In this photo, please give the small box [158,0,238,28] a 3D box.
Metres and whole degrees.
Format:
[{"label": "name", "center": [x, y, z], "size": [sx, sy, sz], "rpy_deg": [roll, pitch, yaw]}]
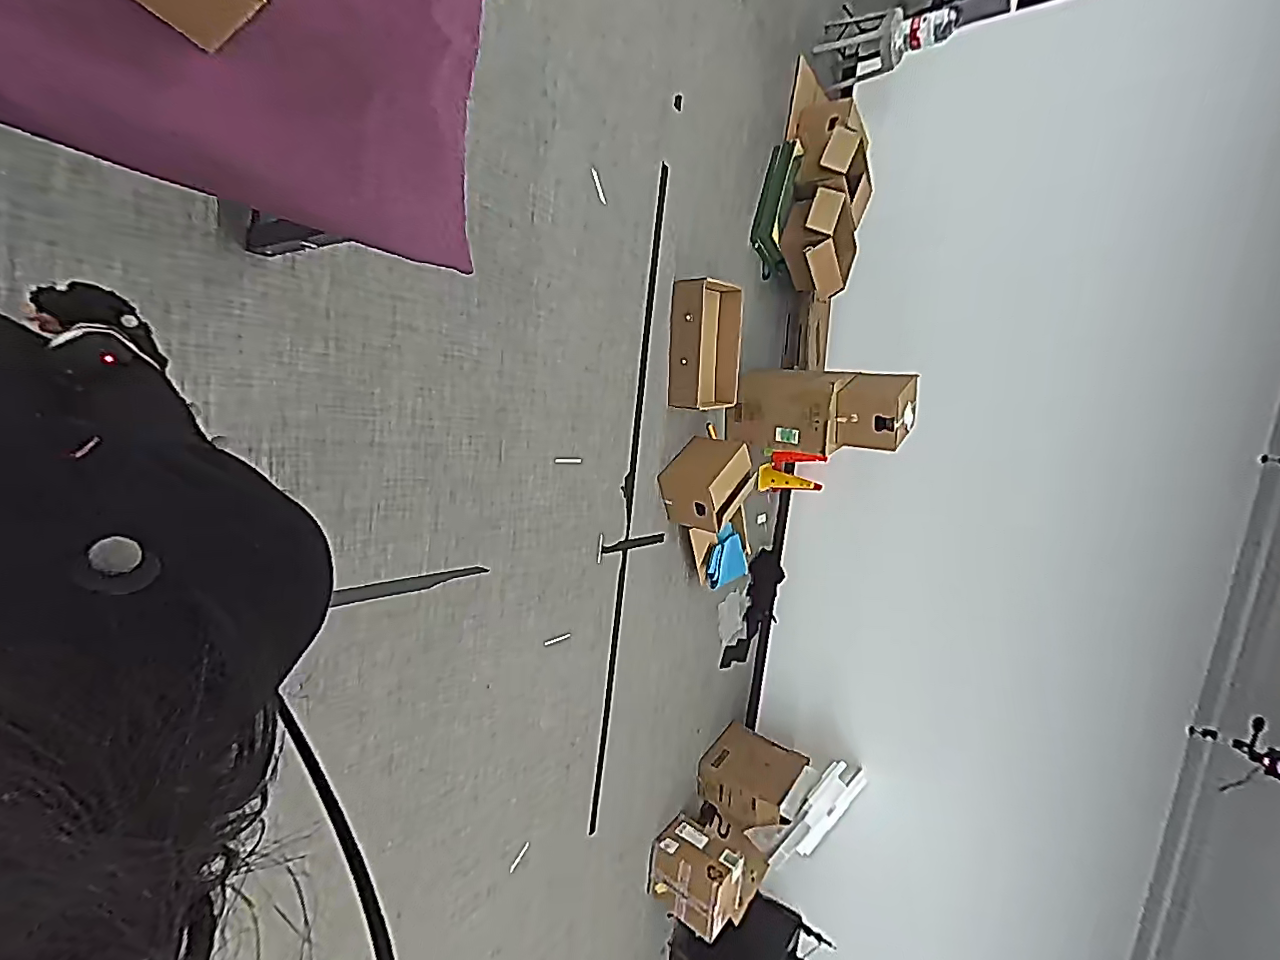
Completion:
[{"label": "small box", "center": [-0.442, -0.574, 0.492], "size": [0.179, 0.176, 0.168], "rpy_deg": [23, 81, -54]}]
